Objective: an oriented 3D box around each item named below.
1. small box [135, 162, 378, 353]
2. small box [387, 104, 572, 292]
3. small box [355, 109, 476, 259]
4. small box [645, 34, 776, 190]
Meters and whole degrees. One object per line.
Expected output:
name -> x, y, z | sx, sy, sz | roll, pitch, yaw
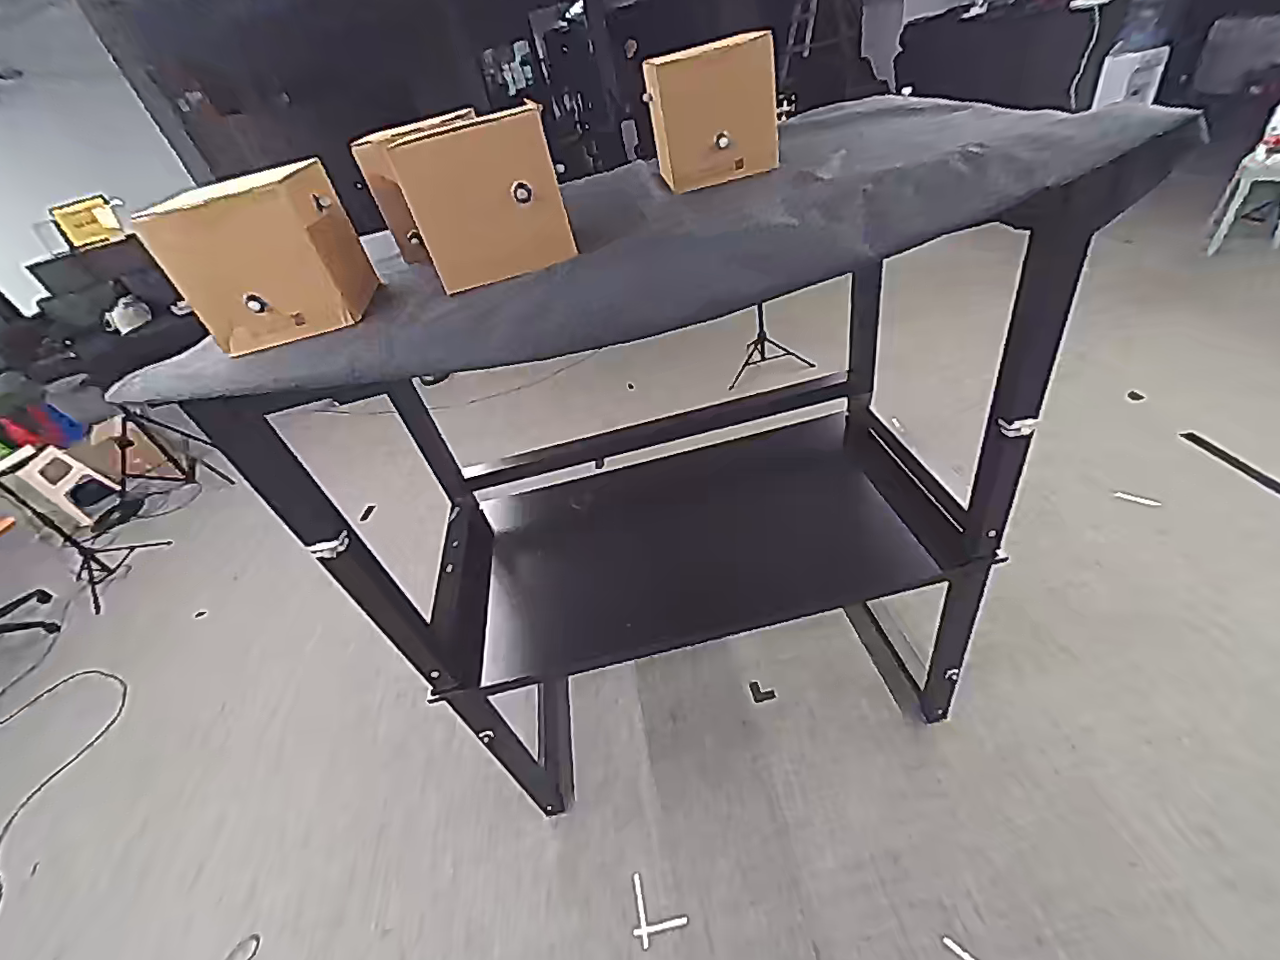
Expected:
small box -> -0.463, -0.286, 0.693 | 0.168, 0.176, 0.179 | -17, 39, -2
small box -> -0.191, -0.367, 0.702 | 0.179, 0.176, 0.168 | -16, 37, -1
small box -> -0.322, -0.477, 0.879 | 0.168, 0.176, 0.179 | -14, 38, 1
small box -> 0.110, -0.578, 0.857 | 0.168, 0.176, 0.179 | -13, 39, 4
